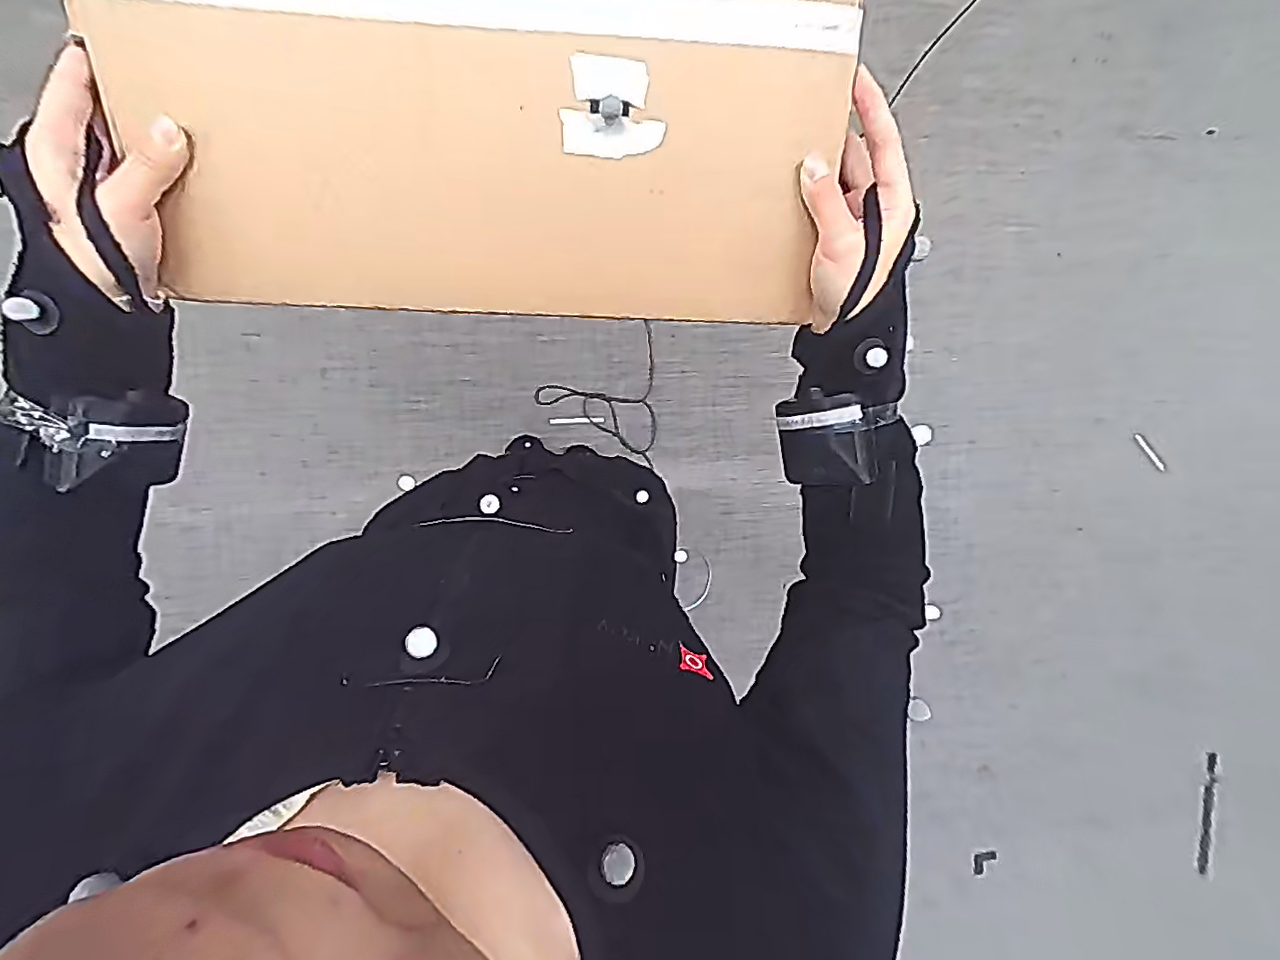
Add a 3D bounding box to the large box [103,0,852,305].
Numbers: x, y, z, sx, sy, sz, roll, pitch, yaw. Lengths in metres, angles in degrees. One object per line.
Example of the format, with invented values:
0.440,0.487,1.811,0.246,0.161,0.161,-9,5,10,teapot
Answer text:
-0.092,-0.315,0.429,0.408,0.320,0.320,0,113,-5,large box
